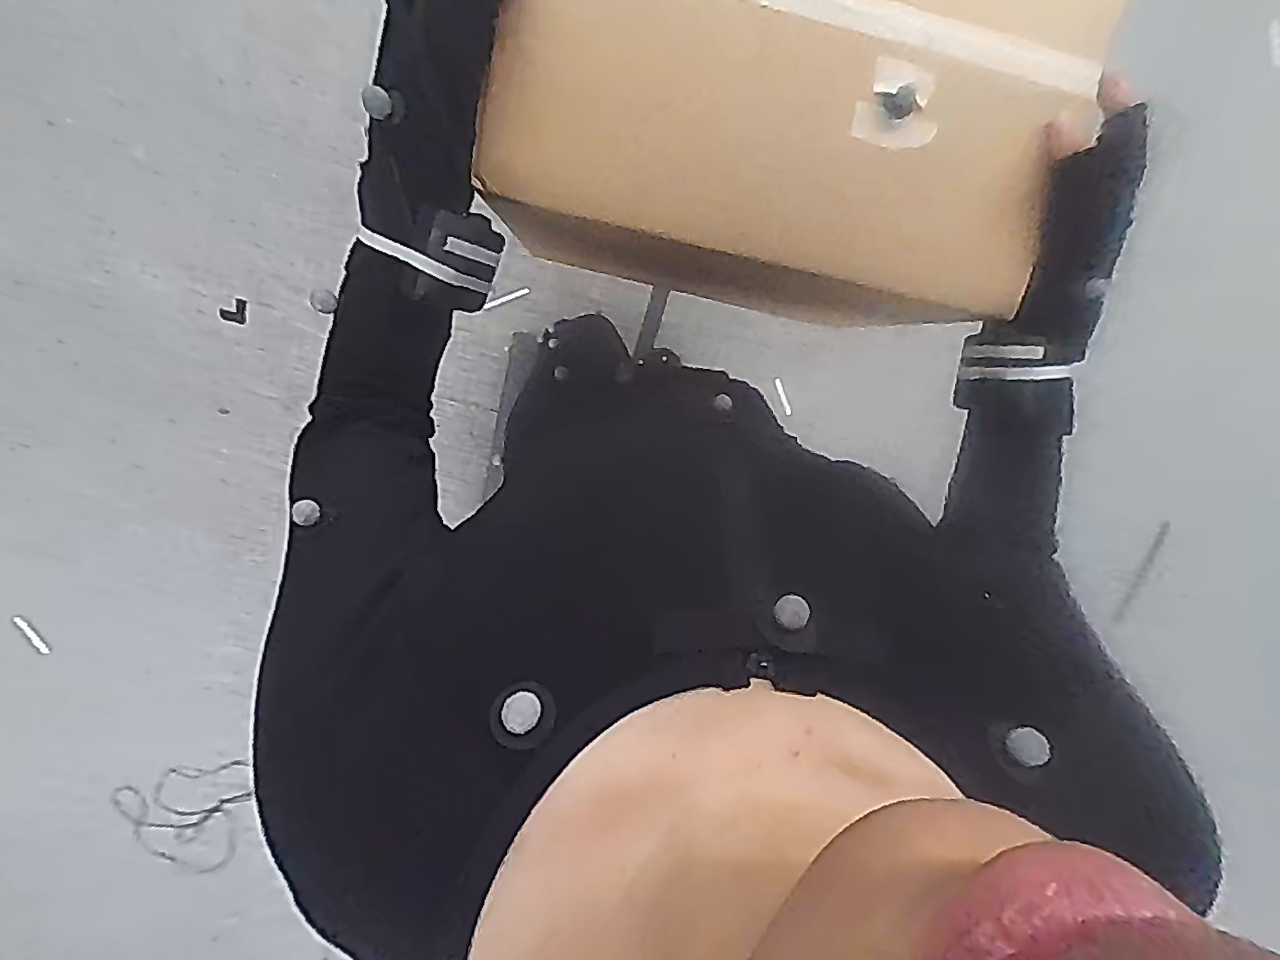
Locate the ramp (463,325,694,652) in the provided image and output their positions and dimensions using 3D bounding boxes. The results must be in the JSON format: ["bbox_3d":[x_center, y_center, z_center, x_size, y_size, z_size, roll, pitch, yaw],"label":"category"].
[{"bbox_3d":[-0.216,0.092,1.612,0.509,0.206,0.991,13,104,-7],"label":"ramp"}]

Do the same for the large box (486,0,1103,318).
[{"bbox_3d":[0.100,-0.352,0.505,0.408,0.320,0.320,10,104,-8],"label":"large box"}]
